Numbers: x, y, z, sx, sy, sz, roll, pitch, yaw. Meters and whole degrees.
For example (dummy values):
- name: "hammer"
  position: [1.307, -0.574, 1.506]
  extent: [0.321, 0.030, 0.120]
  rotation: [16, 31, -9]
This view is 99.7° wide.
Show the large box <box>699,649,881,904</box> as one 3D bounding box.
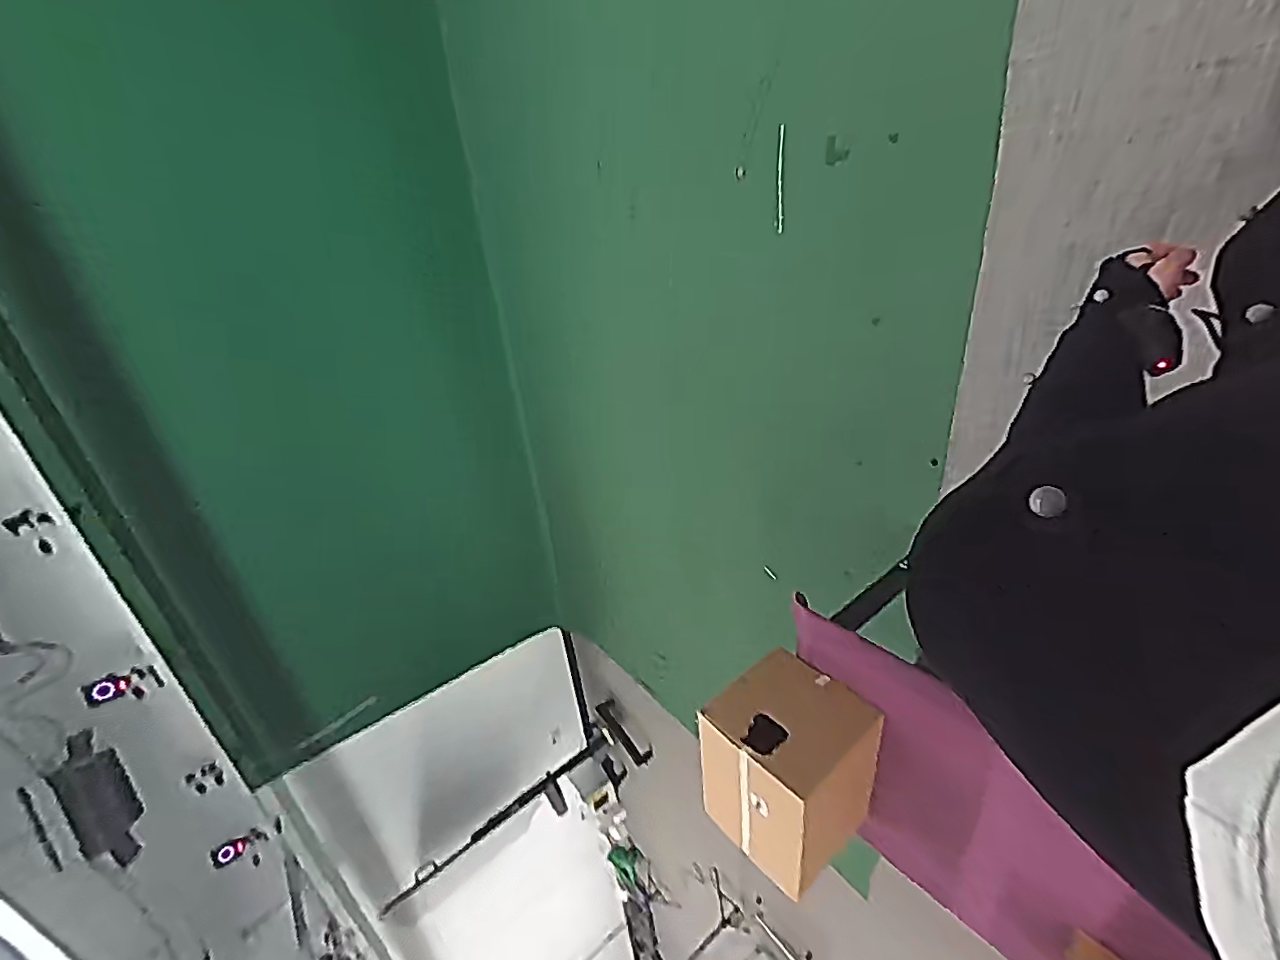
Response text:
- name: "large box"
  position: [0.373, 0.726, 1.368]
  extent: [0.320, 0.320, 0.408]
  rotation: [24, 129, 46]
